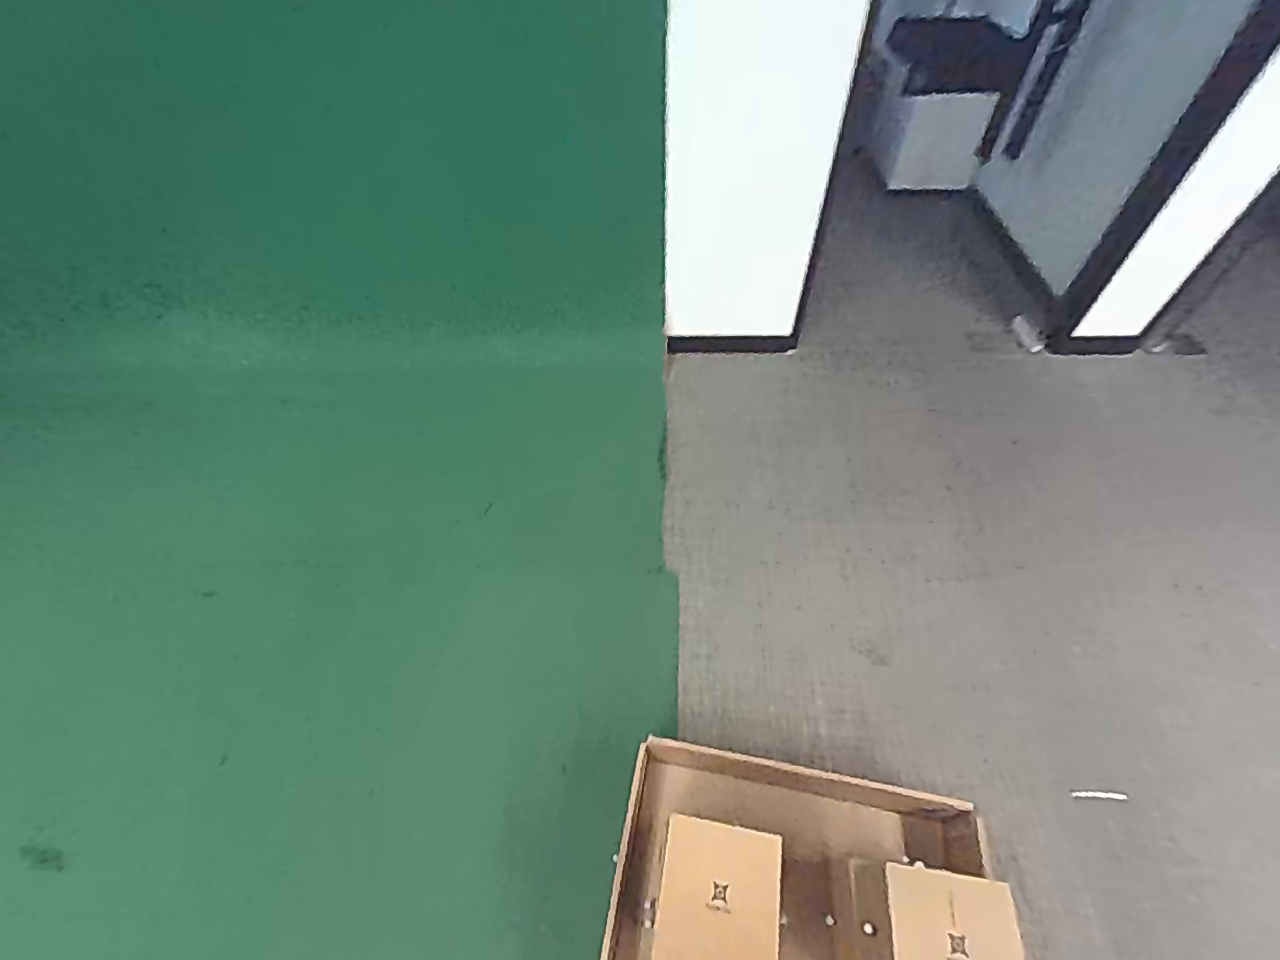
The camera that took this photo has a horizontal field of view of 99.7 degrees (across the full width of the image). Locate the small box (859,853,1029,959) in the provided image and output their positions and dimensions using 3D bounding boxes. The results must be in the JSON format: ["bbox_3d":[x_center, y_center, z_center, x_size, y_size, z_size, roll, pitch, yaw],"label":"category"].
[{"bbox_3d":[0.421,0.650,0.765,0.168,0.176,0.179,5,53,7],"label":"small box"}]

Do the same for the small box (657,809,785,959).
[{"bbox_3d":[0.118,0.618,0.813,0.168,0.176,0.179,7,55,8],"label":"small box"}]
